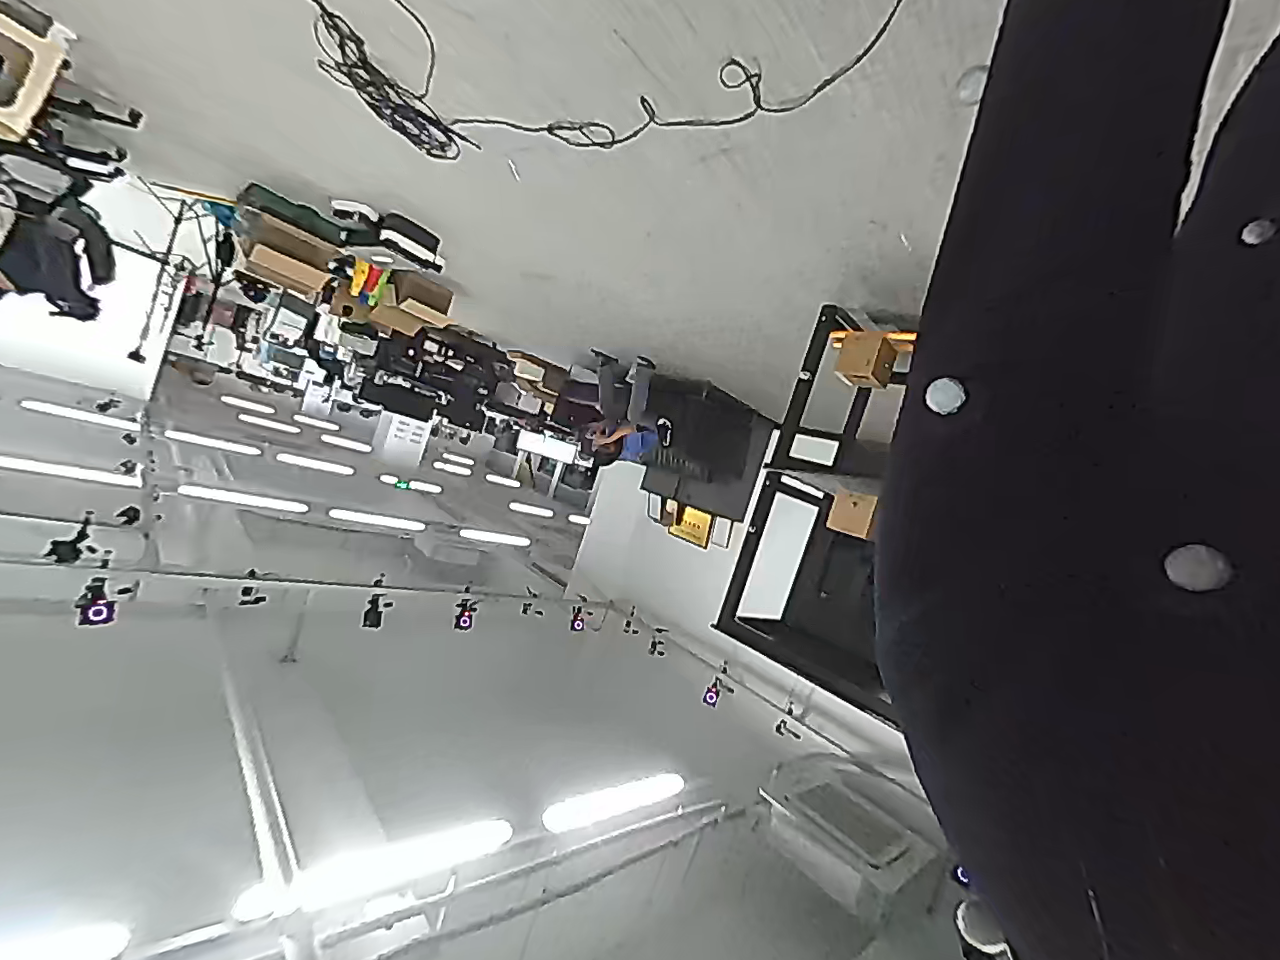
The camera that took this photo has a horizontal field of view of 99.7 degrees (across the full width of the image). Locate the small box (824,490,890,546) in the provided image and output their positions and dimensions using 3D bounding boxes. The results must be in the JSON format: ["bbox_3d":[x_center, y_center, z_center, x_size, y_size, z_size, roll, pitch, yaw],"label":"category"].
[{"bbox_3d":[0.861,0.150,2.136,0.179,0.176,0.168,17,-179,-44],"label":"small box"}]
